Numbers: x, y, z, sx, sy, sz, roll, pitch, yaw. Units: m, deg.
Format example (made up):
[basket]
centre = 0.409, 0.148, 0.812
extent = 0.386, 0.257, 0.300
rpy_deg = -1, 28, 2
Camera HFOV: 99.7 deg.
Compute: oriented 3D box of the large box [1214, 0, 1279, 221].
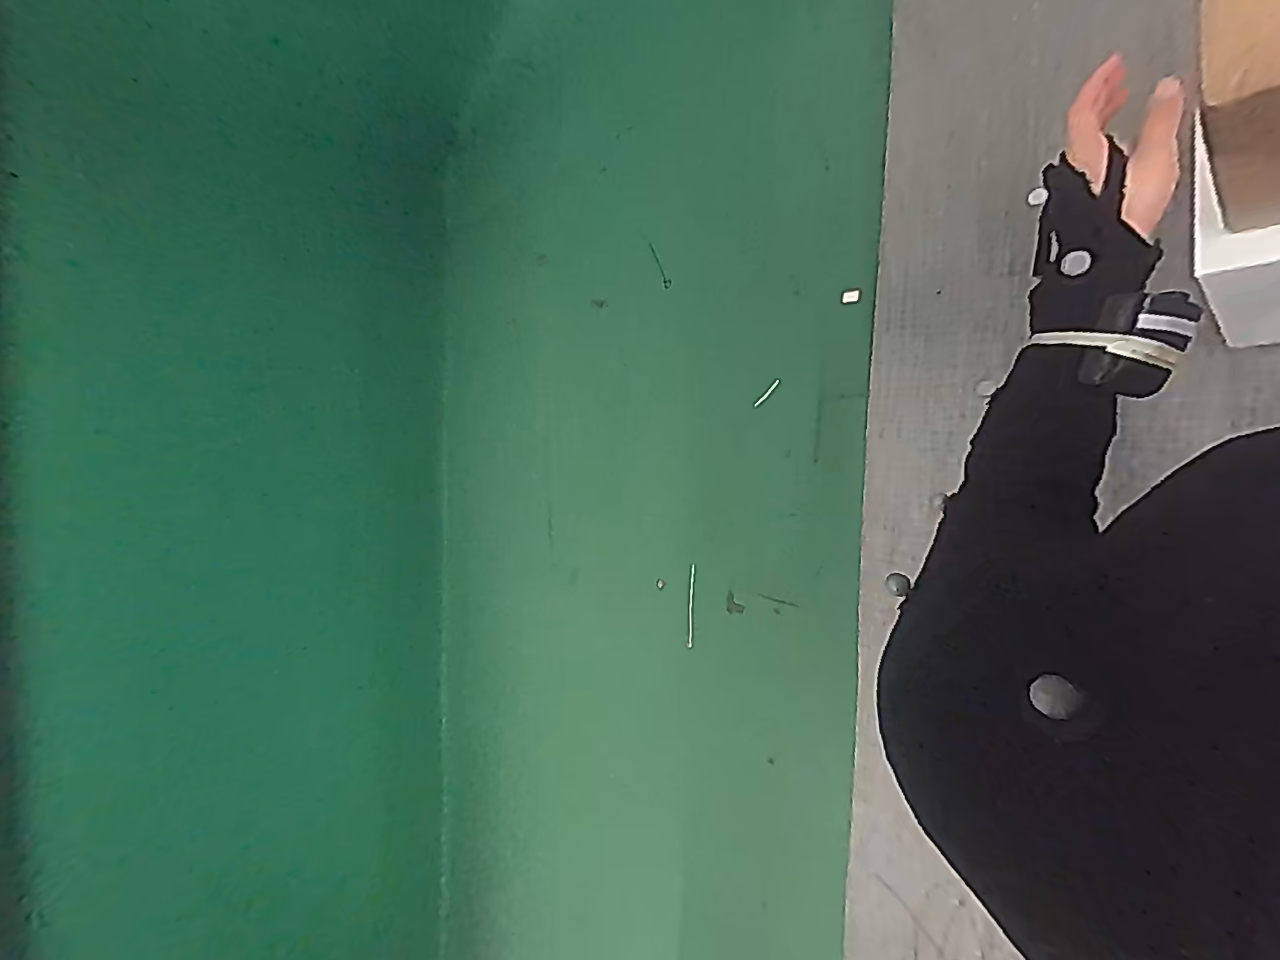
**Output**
[large box]
centre = 0.627, -0.416, 0.314
extent = 0.408, 0.320, 0.320
rpy_deg = -1, 91, 49
